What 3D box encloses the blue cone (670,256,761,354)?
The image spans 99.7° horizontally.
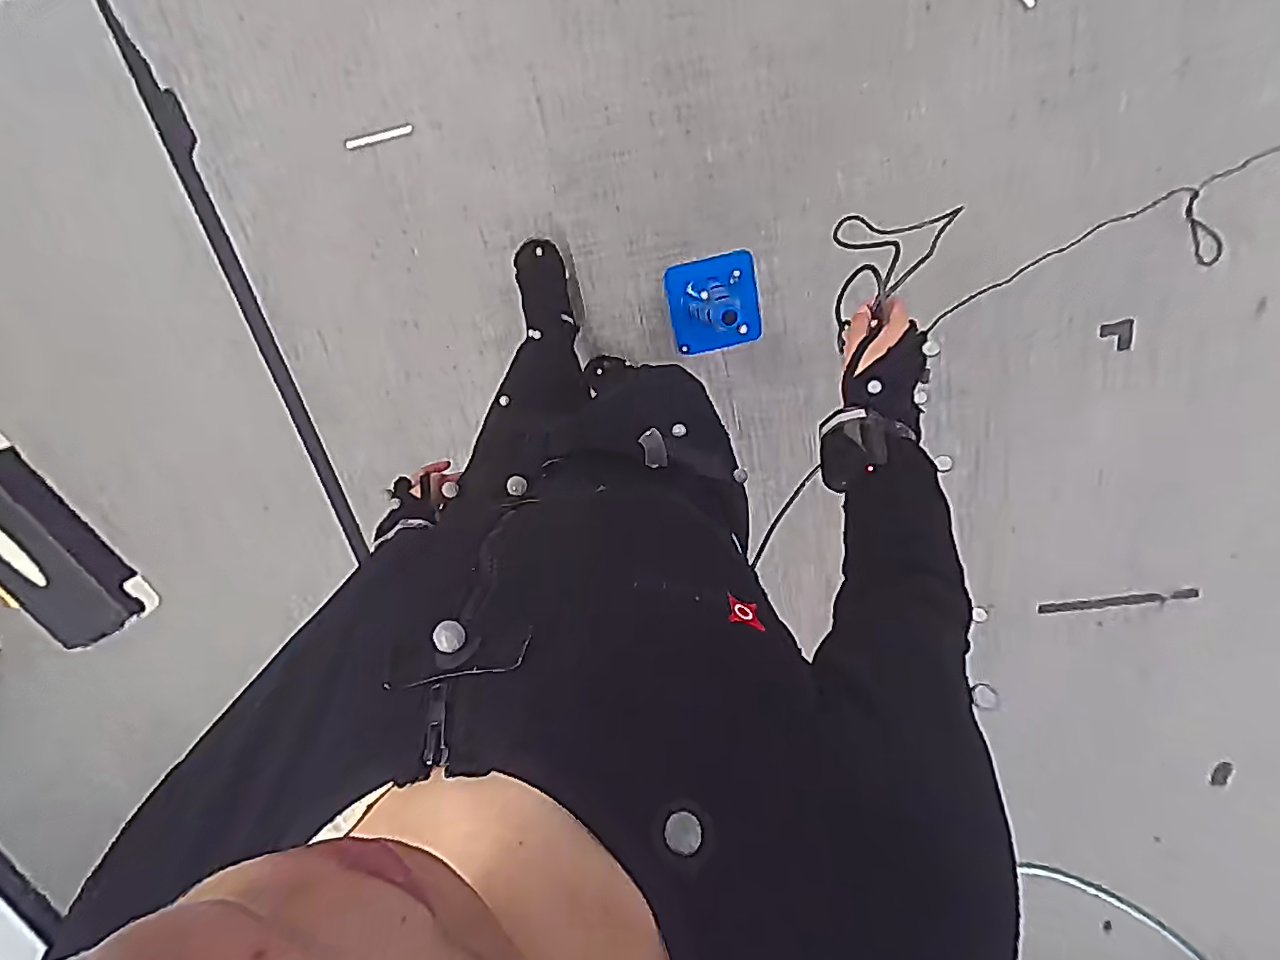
[{"bbox_3d":[0.161,-0.333,1.069,0.193,0.380,0.192,-9,111,7],"label":"blue cone"}]
